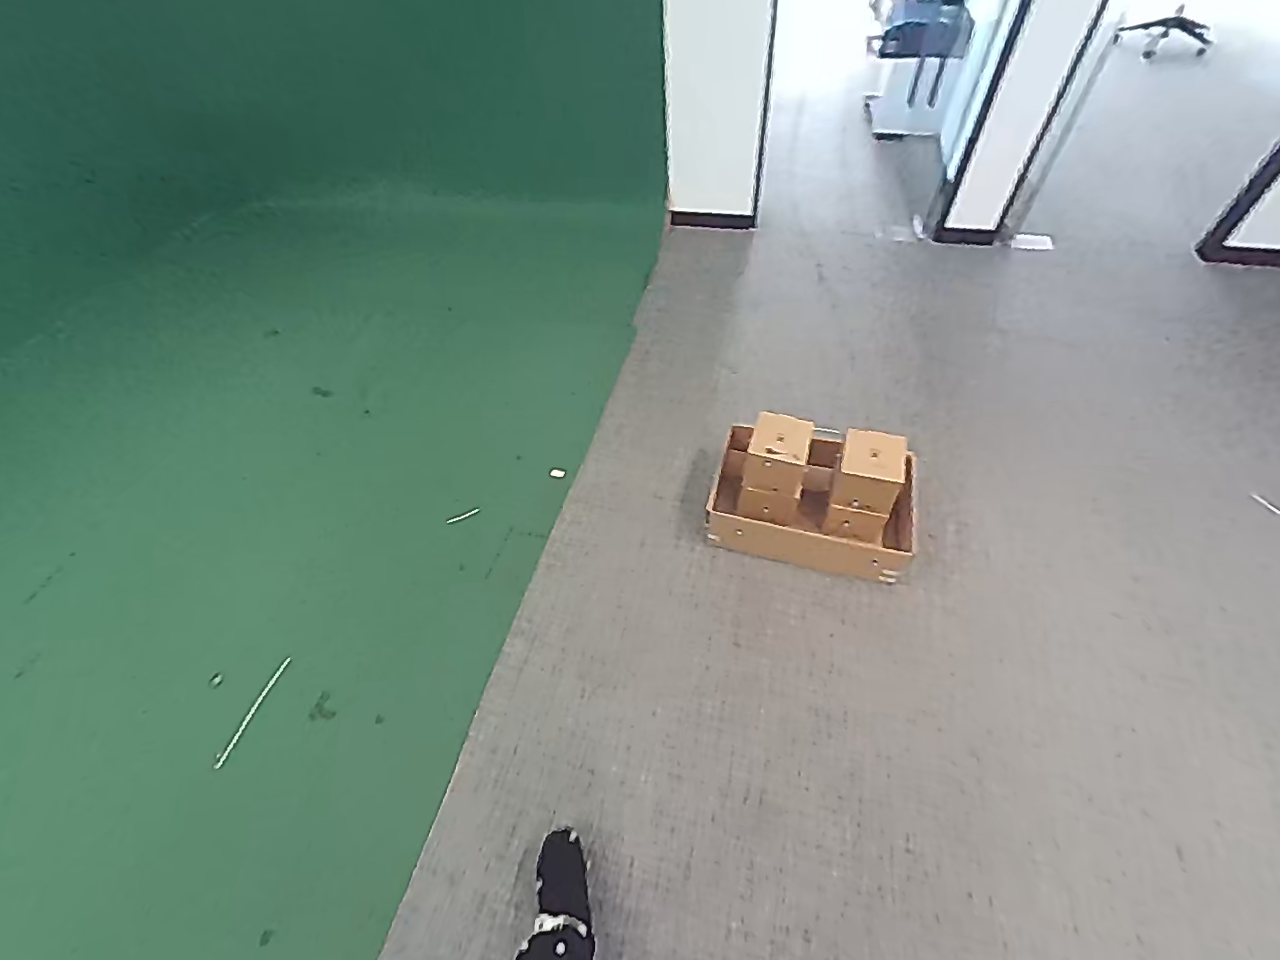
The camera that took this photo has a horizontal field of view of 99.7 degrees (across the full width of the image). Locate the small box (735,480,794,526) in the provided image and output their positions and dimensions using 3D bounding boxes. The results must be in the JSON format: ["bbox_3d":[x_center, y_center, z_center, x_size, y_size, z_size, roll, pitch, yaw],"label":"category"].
[{"bbox_3d":[0.415,0.031,1.801,0.168,0.176,0.179,11,55,10],"label":"small box"}]

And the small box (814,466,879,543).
[{"bbox_3d":[0.667,0.083,1.749,0.168,0.176,0.179,10,55,11],"label":"small box"}]

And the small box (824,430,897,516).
[{"bbox_3d":[0.656,-0.019,1.621,0.168,0.176,0.179,11,55,14],"label":"small box"}]

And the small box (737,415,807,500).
[{"bbox_3d":[0.404,-0.070,1.671,0.168,0.176,0.179,14,55,14],"label":"small box"}]
